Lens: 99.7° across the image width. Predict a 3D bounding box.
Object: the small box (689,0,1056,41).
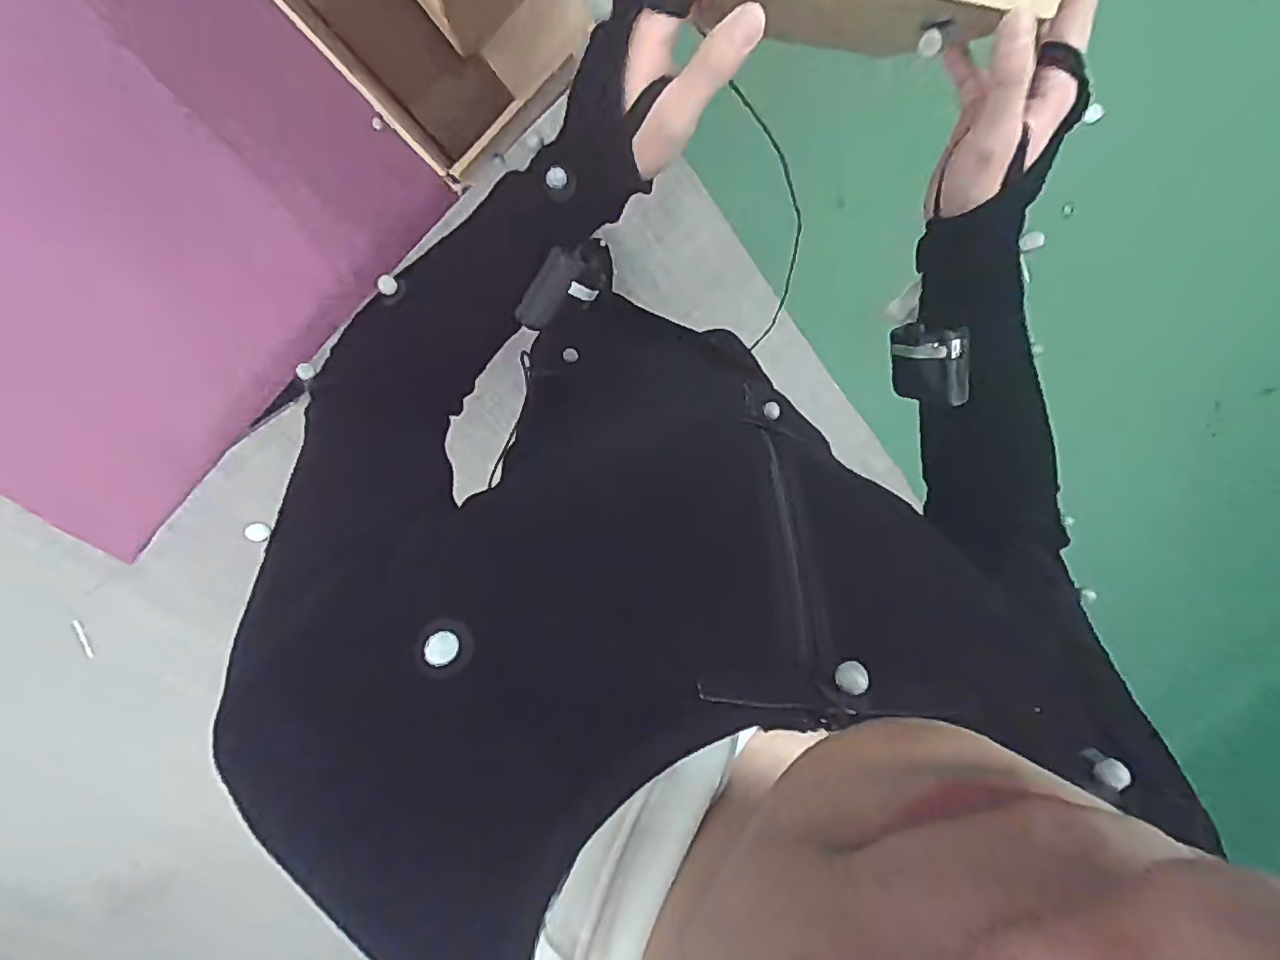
[{"bbox_3d":[0.138,-0.369,0.303,0.179,0.176,0.168,-1,122,-13],"label":"small box"}]
